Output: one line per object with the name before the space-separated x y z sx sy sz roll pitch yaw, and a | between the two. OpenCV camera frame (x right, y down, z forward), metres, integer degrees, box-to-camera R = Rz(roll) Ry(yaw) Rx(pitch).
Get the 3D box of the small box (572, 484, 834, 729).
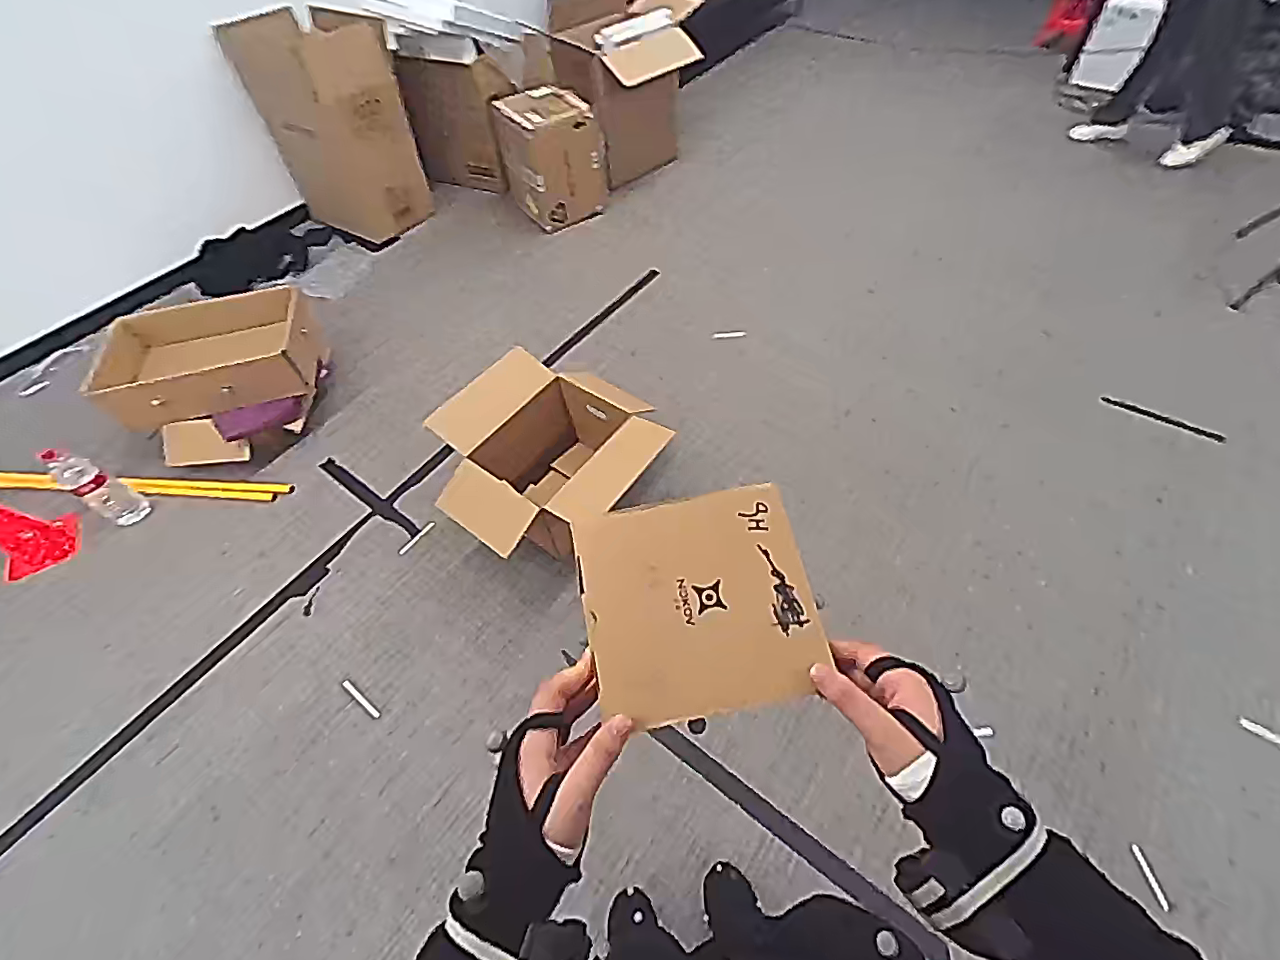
small box | 0.046 0.123 0.490 0.179 0.176 0.168 -11 67 -3
